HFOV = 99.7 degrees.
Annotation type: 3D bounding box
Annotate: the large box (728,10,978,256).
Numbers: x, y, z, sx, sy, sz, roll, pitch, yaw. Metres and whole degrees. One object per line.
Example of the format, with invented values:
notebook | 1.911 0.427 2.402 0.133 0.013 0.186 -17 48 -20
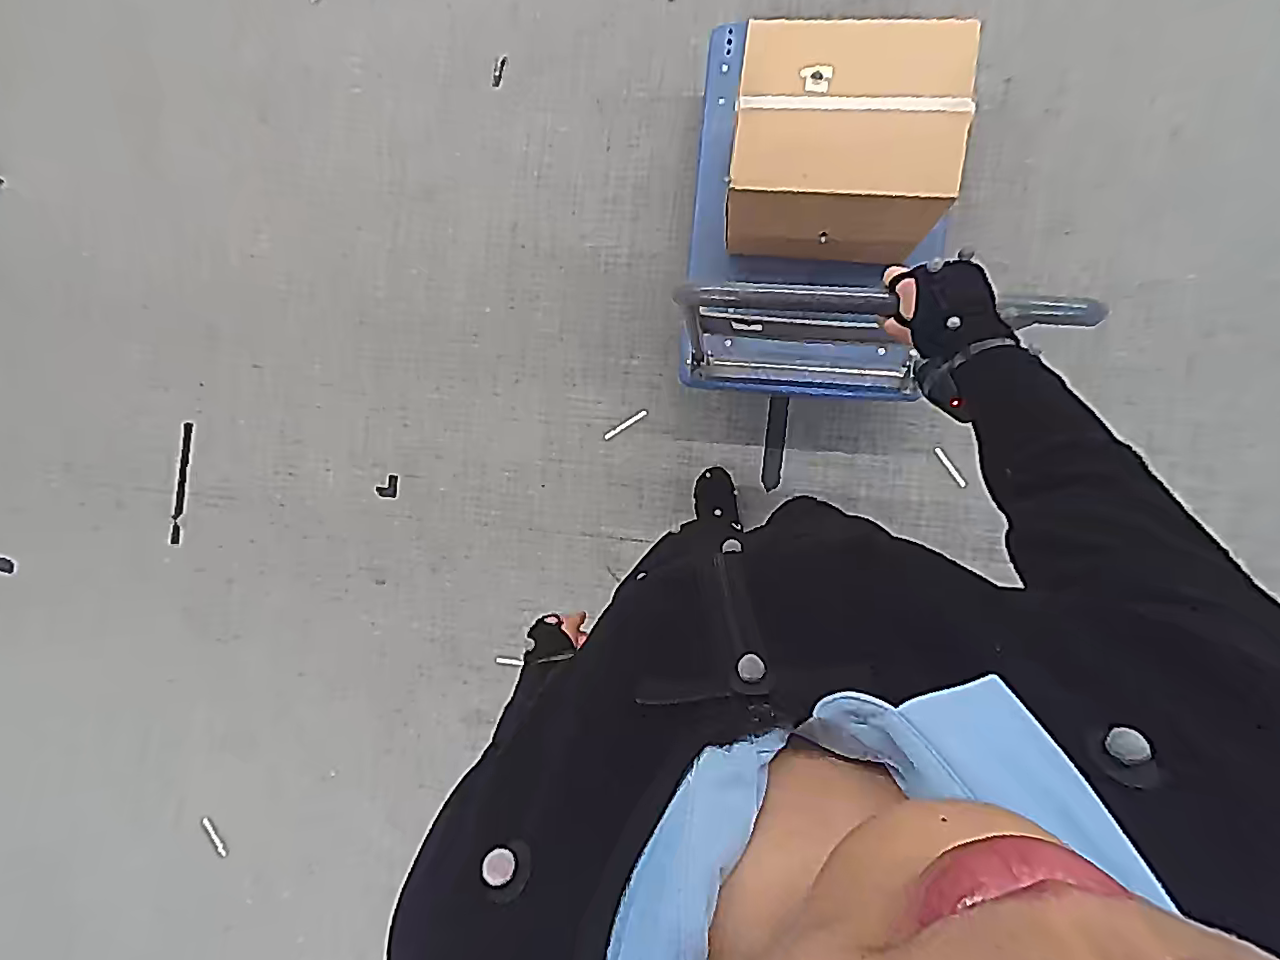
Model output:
large box | 0.399 -0.674 1.108 0.408 0.320 0.320 7 91 10
